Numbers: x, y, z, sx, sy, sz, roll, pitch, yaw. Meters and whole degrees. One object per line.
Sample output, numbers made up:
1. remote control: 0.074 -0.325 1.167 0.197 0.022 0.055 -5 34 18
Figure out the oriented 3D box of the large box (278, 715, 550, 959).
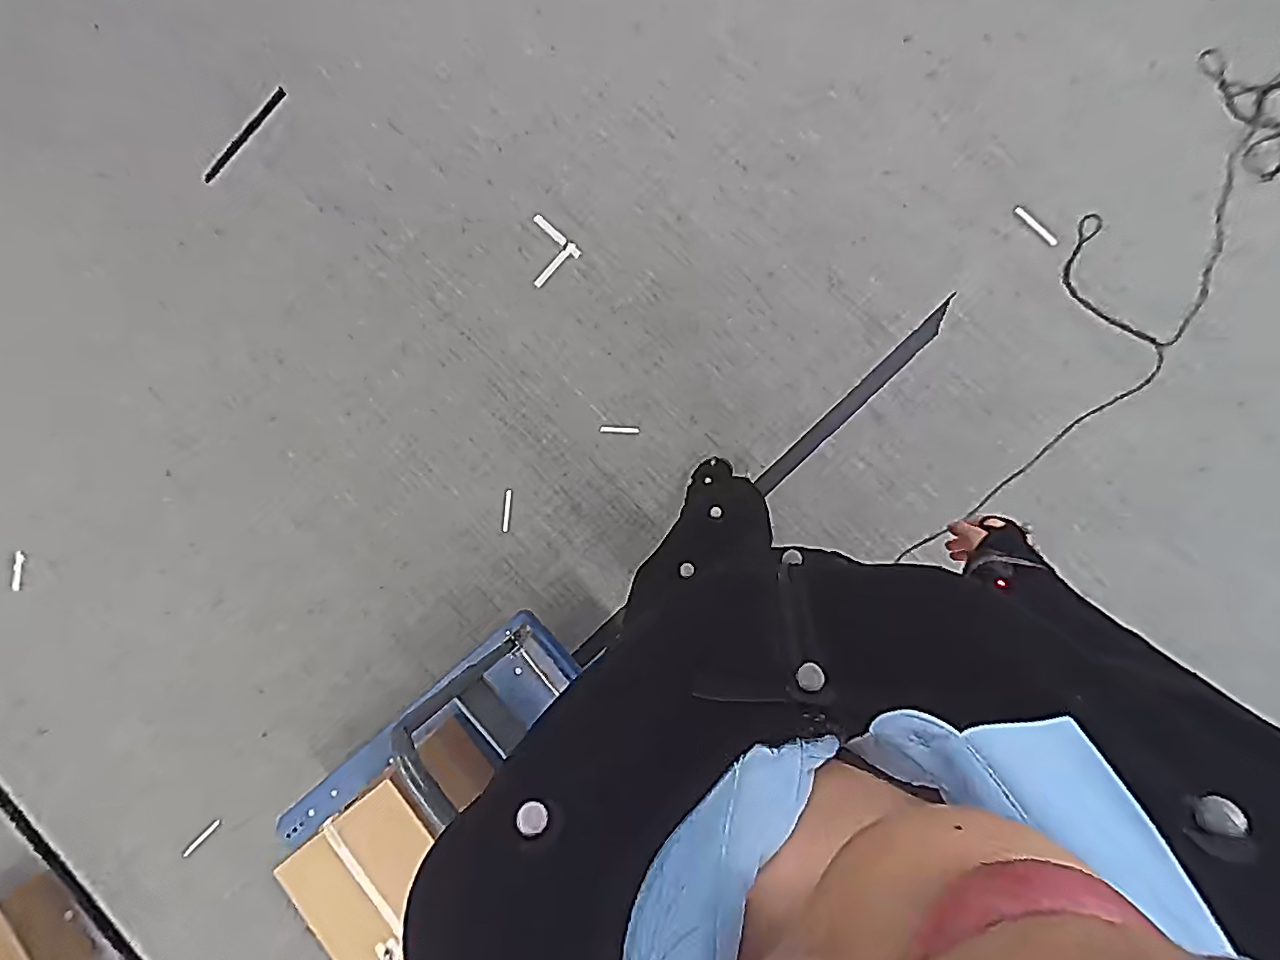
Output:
1. large box: -0.466 0.822 1.196 0.320 0.320 0.408 -40 87 4
